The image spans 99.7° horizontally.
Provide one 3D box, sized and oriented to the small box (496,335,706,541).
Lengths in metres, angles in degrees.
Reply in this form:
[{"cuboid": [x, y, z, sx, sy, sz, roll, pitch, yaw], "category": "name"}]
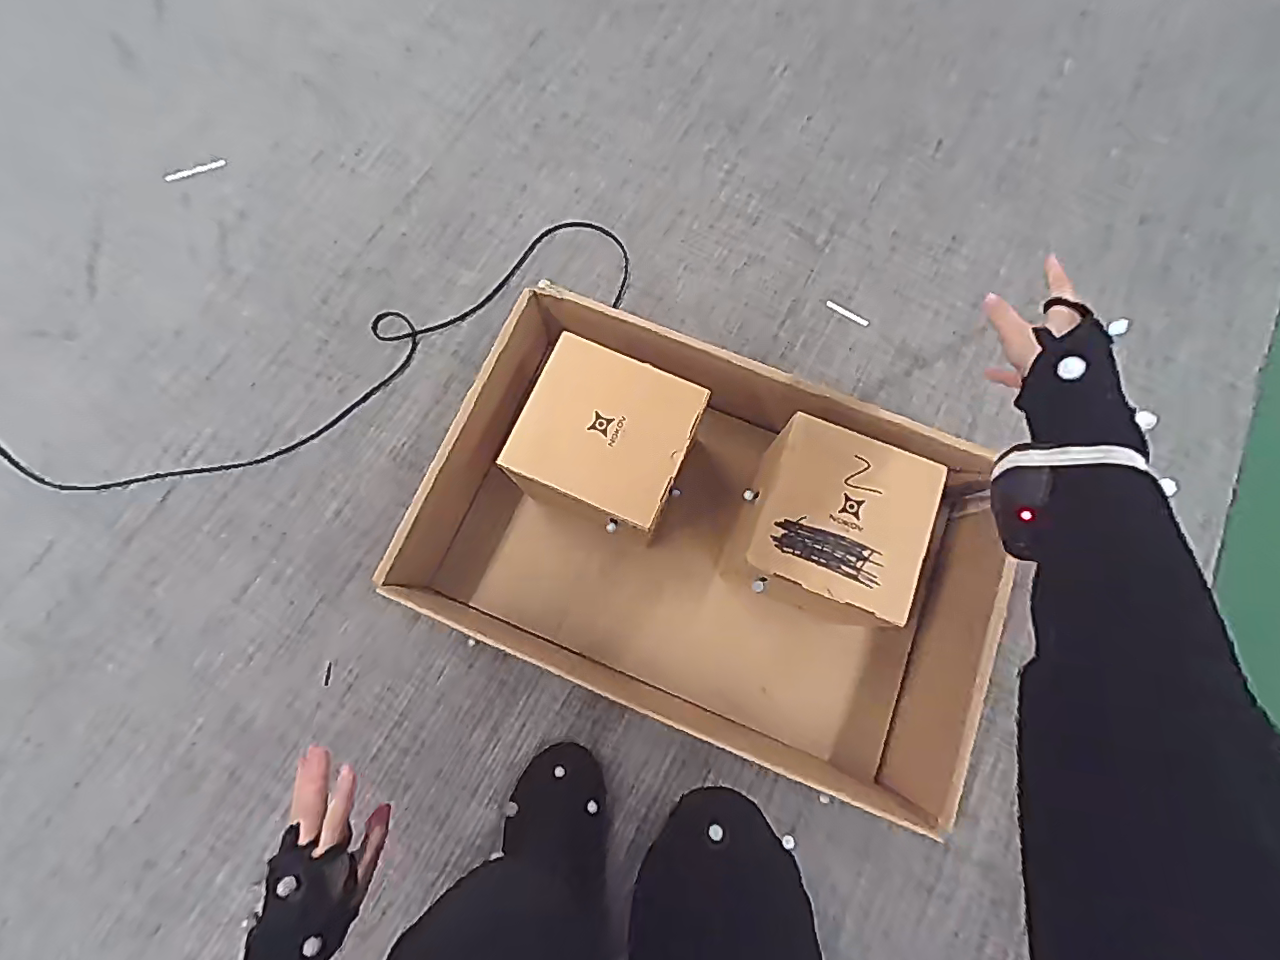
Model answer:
[{"cuboid": [-0.042, -0.037, 0.646, 0.179, 0.176, 0.168, 23, 78, 3], "category": "small box"}]
